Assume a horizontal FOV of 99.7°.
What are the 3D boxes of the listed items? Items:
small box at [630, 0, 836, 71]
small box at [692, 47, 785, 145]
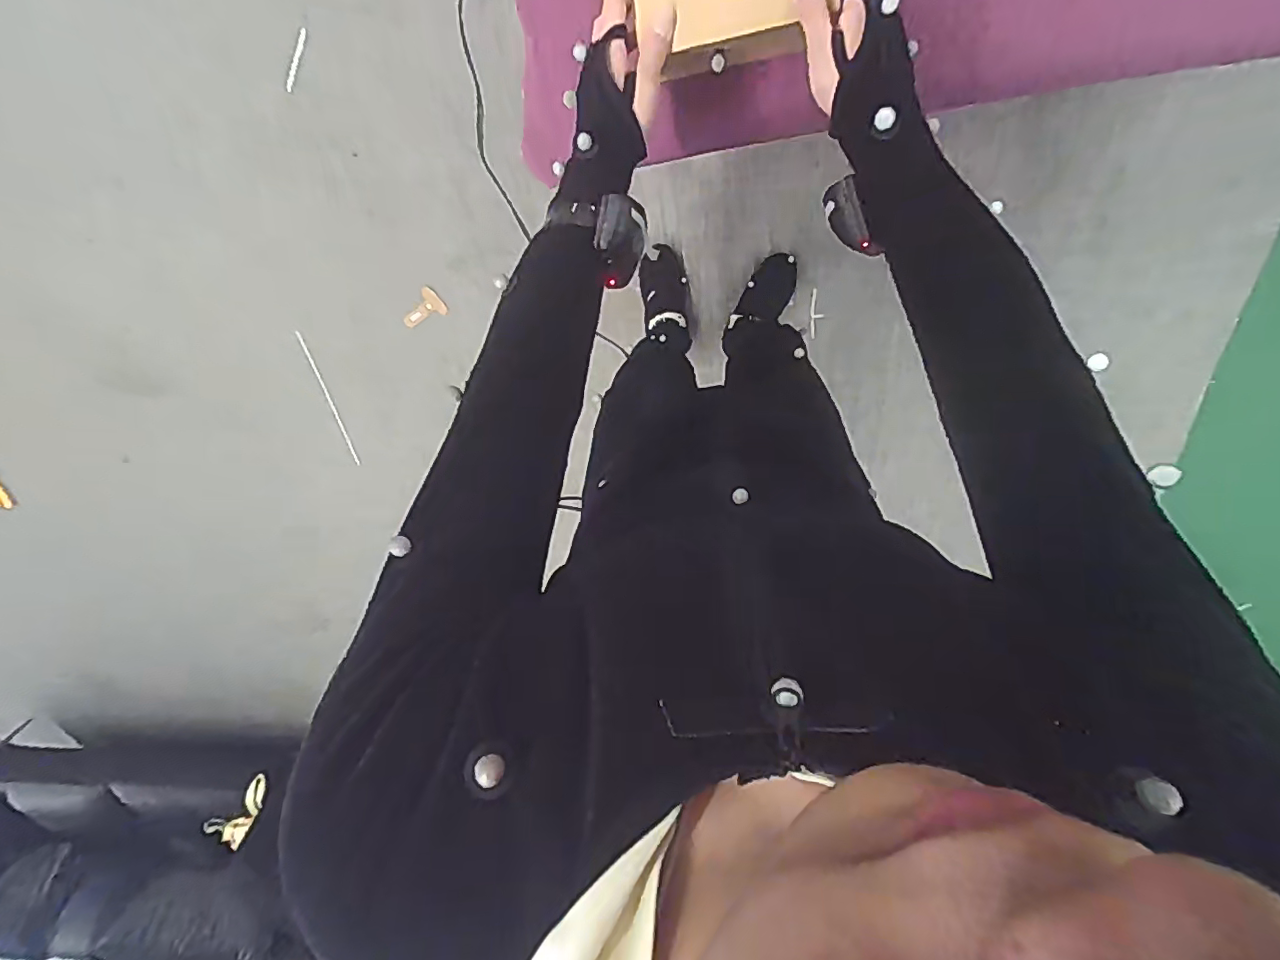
[{"bbox_3d":[0.080,-0.494,0.487,0.179,0.176,0.168,-5,120,12],"label":"small box"},{"bbox_3d":[0.203,-0.822,1.126,0.168,0.176,0.179,-11,119,15],"label":"small box"}]
